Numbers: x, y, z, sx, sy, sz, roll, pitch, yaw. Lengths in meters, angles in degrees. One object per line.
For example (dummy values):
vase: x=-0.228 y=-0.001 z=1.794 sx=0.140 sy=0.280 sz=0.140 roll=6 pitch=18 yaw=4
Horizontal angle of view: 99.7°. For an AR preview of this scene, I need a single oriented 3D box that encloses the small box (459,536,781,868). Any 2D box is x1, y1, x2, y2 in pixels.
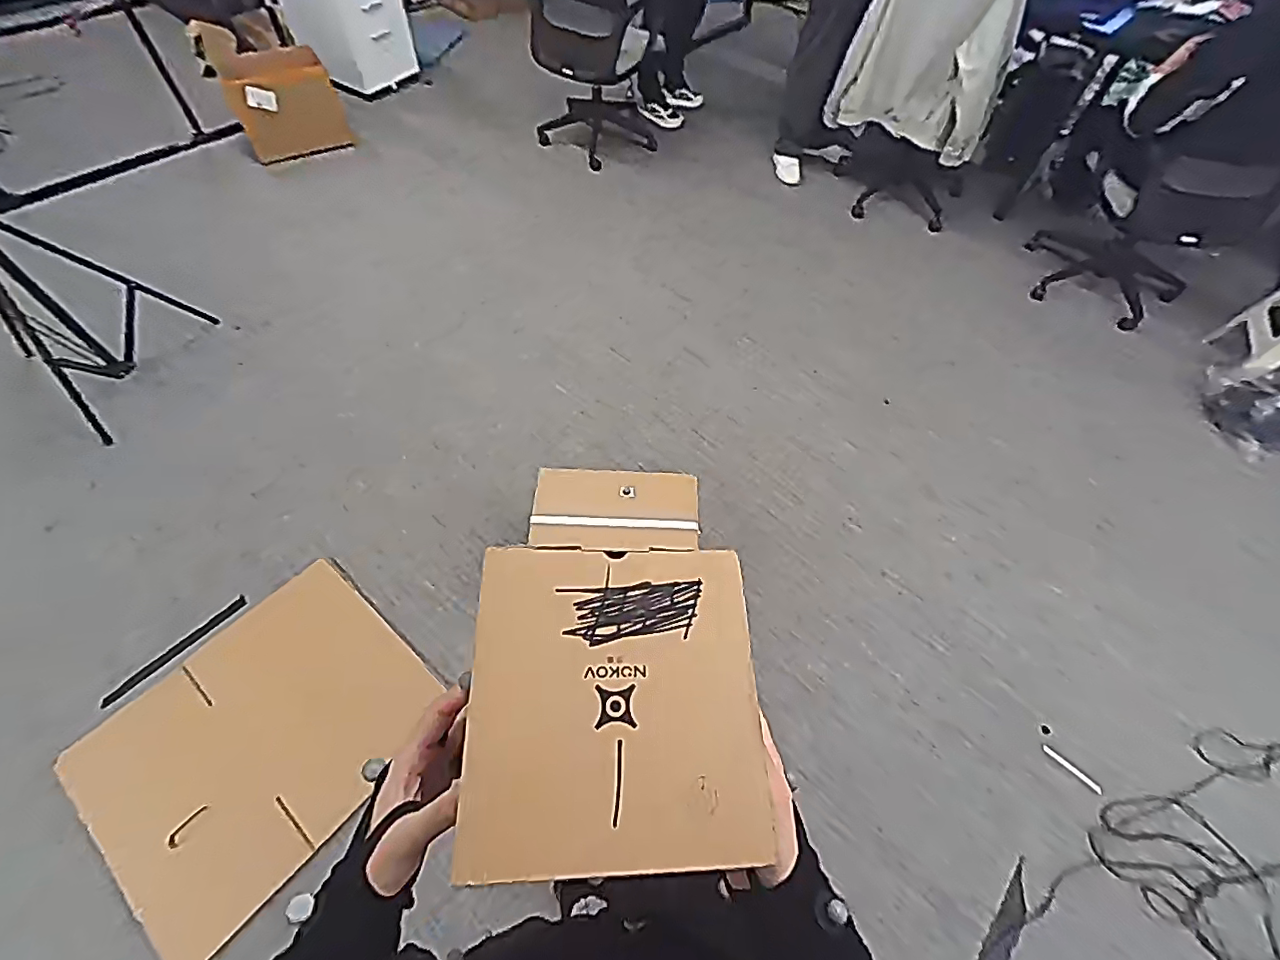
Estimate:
small box: x=-0.020 y=0.154 z=0.379 sx=0.168 sy=0.176 sz=0.179 roll=2 pitch=61 yaw=-7
